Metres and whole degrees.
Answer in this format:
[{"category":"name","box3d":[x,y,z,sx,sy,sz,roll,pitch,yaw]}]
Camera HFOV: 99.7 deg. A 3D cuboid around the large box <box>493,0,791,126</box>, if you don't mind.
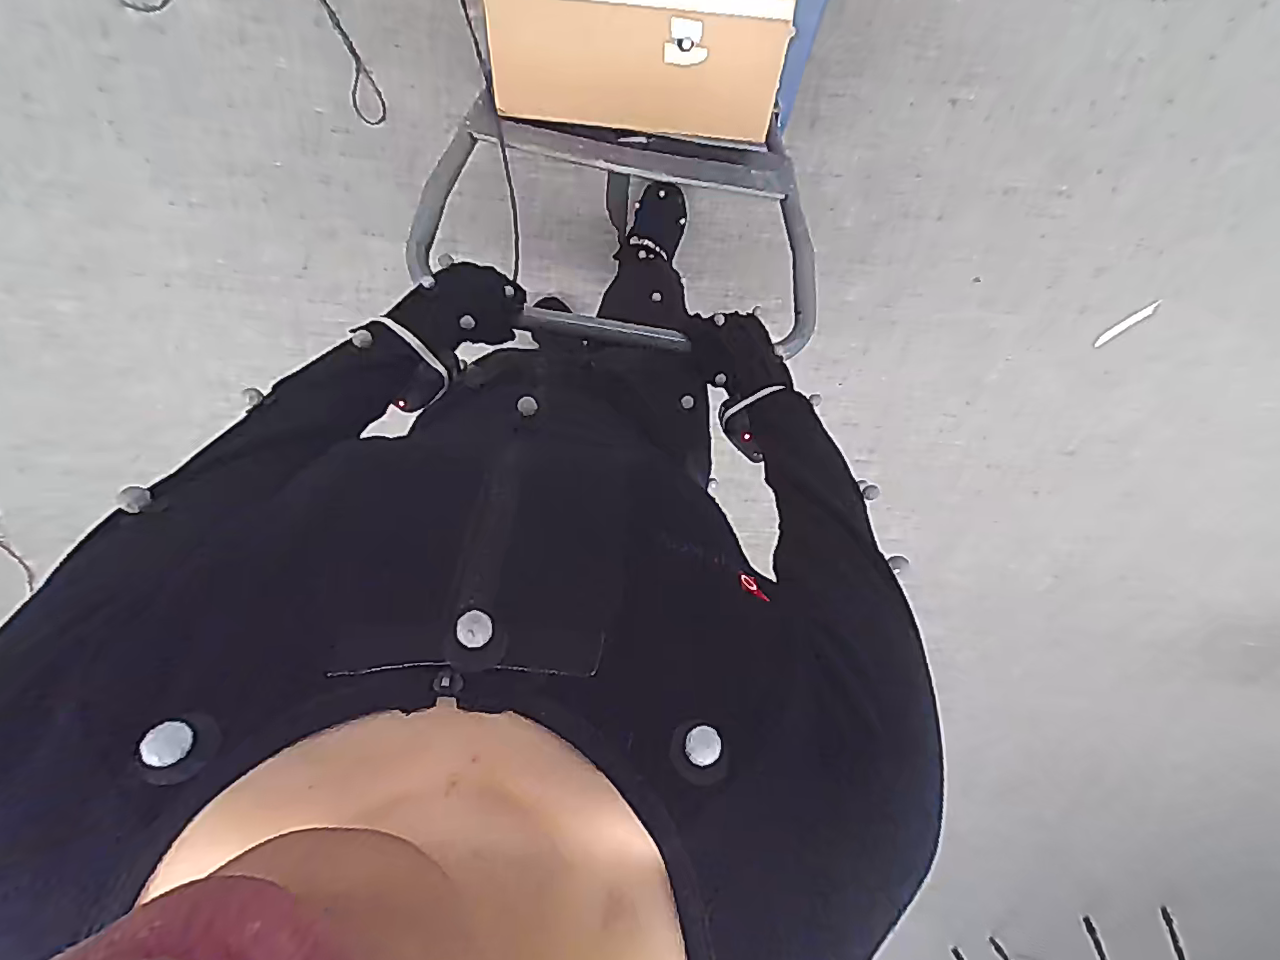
[{"category":"large box","box3d":[0.004,-0.760,0.798,0.408,0.320,0.320,3,140,-3]}]
